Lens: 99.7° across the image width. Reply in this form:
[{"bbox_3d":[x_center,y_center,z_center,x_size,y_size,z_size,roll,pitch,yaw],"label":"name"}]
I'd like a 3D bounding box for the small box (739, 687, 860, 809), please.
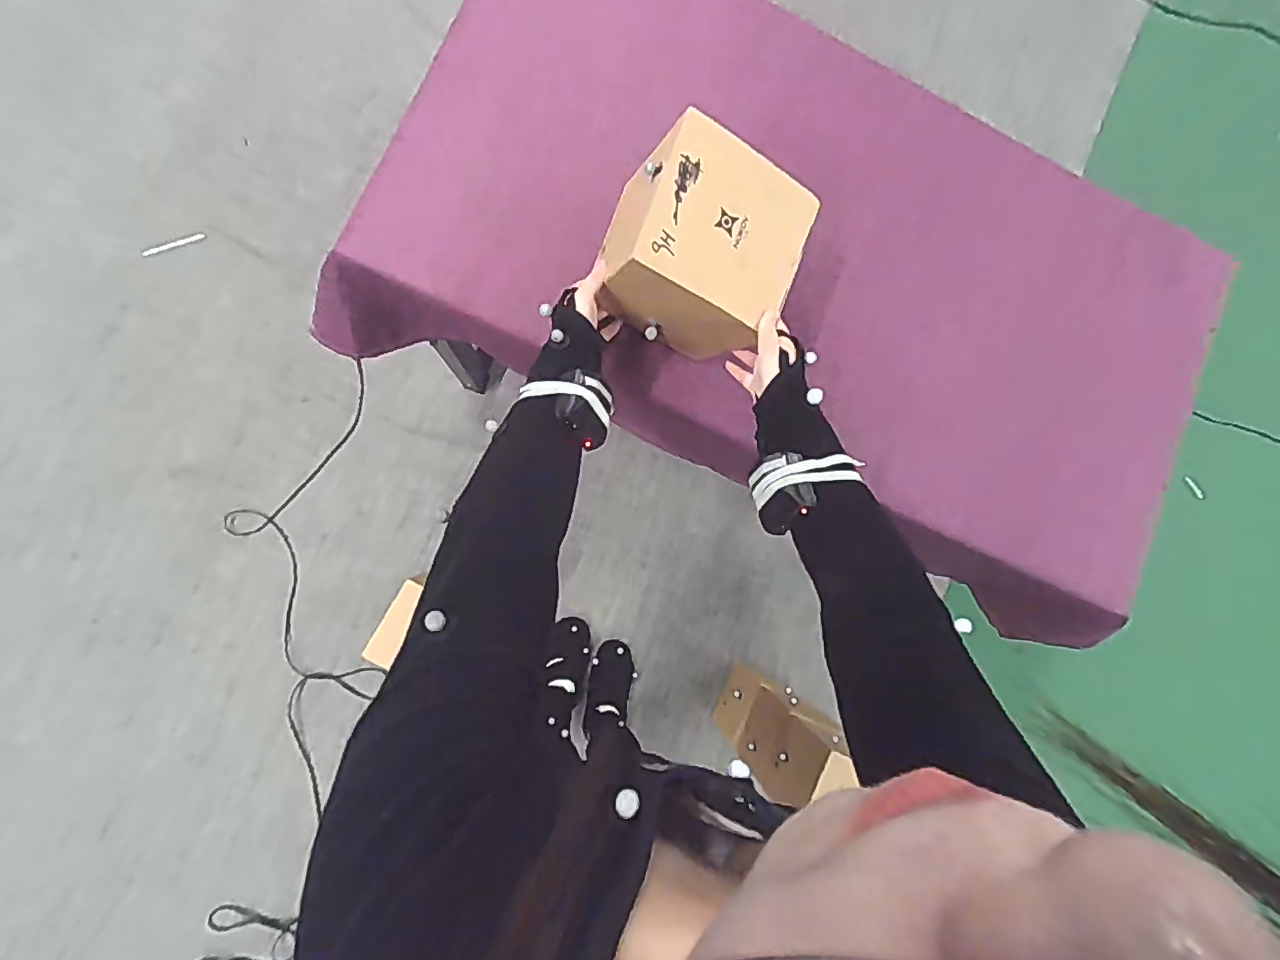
[{"bbox_3d":[0.347,0.587,1.210,0.179,0.176,0.168,25,84,-7],"label":"small box"}]

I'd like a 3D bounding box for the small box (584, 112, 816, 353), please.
[{"bbox_3d":[0.060,-0.259,0.623,0.179,0.176,0.168,22,84,-24],"label":"small box"}]

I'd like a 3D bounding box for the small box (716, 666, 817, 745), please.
[{"bbox_3d":[0.316,0.592,1.370,0.179,0.176,0.168,28,83,-7],"label":"small box"}]
